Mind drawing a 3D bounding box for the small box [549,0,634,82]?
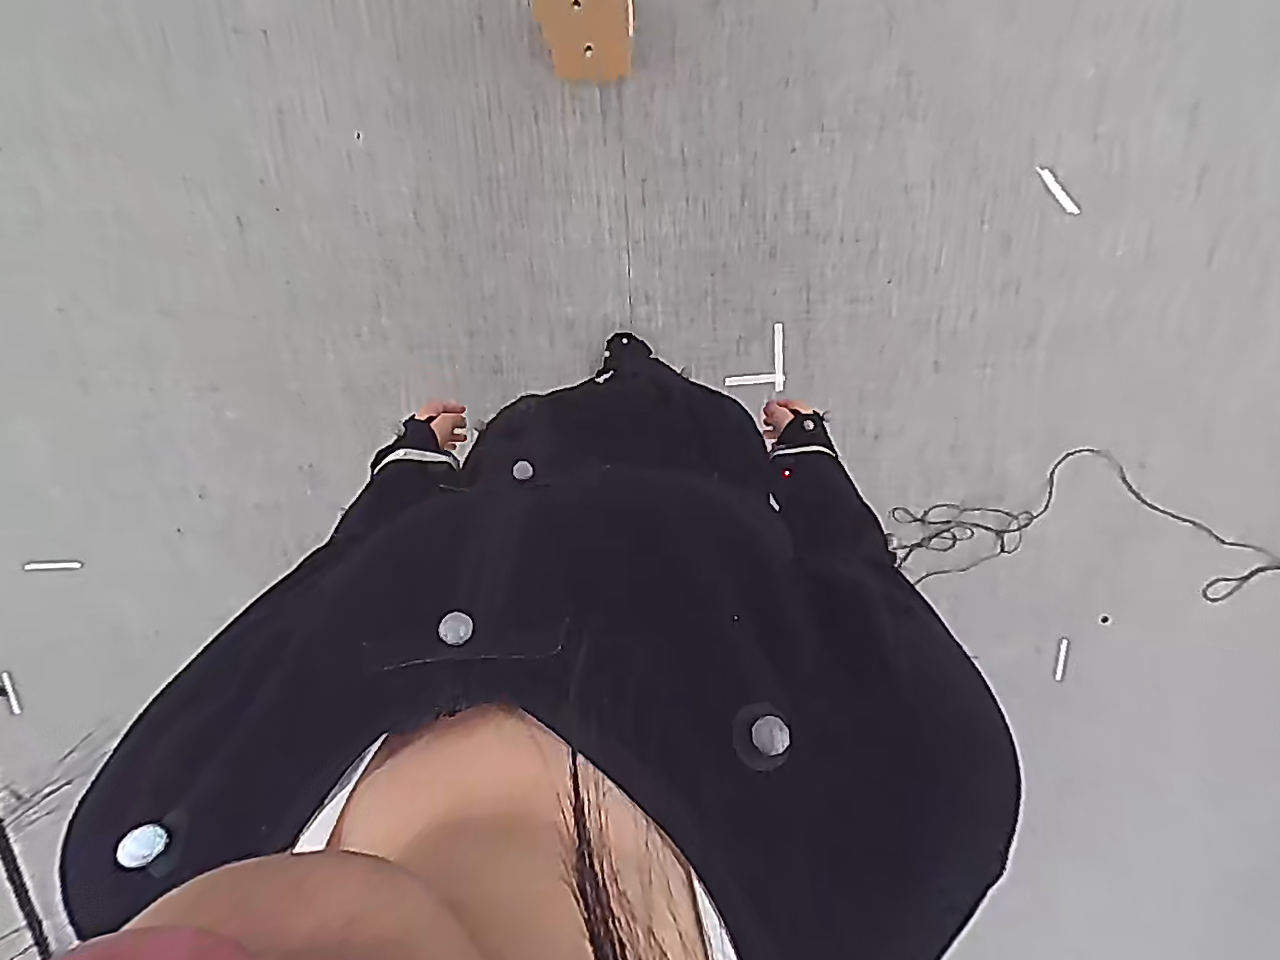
[{"bbox_3d":[-0.105,-0.997,1.176,0.179,0.176,0.168,-2,103,-1],"label":"small box"}]

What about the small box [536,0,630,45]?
[{"bbox_3d":[-0.108,-0.956,1.016,0.179,0.176,0.168,1,104,-1],"label":"small box"}]
